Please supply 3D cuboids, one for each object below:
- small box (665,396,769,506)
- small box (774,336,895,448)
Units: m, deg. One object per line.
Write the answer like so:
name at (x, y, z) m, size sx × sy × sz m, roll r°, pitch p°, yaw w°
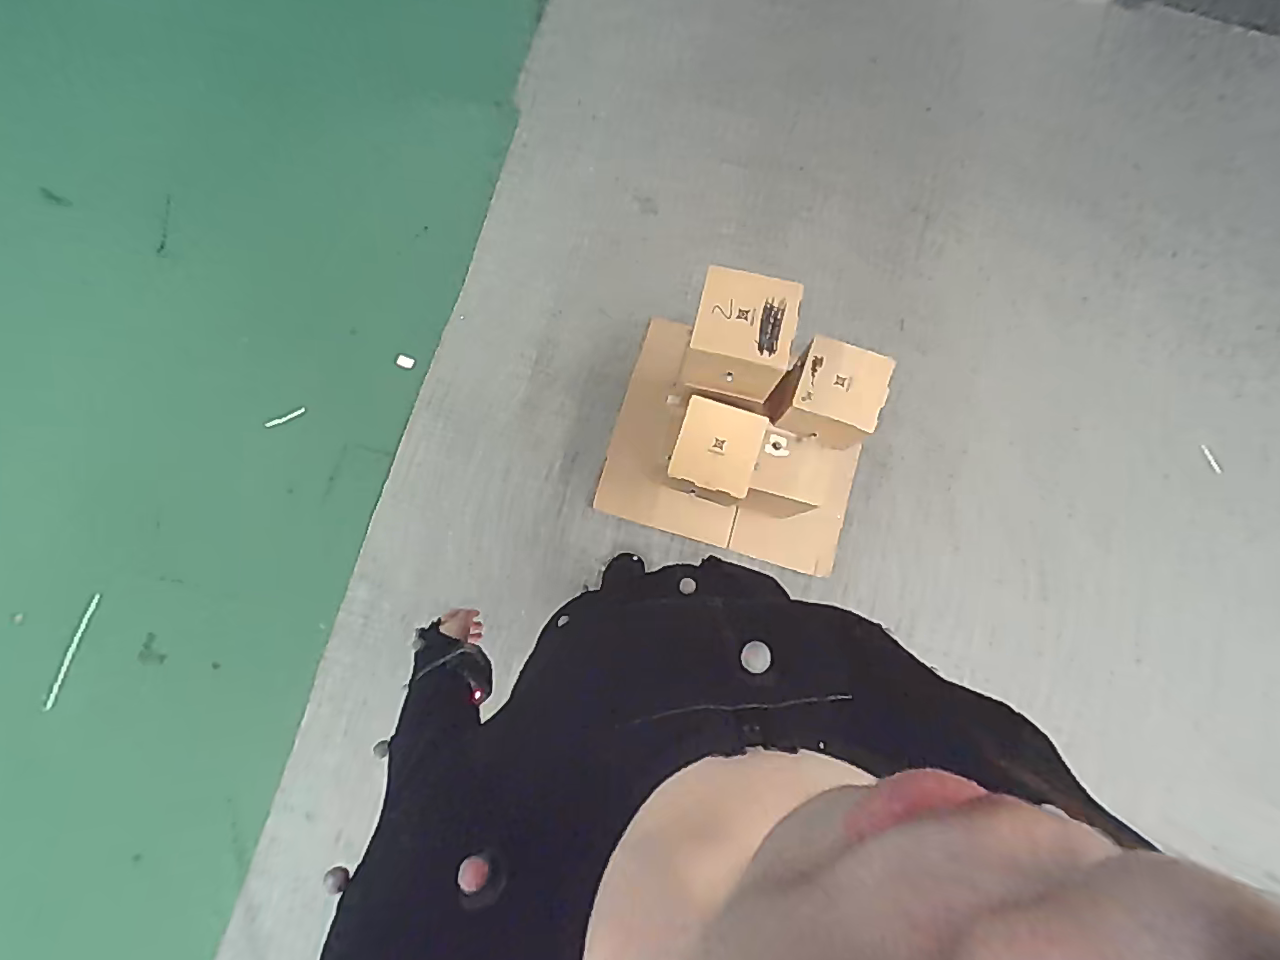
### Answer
small box at (0.155, -0.055, 1.150) m, size 0.168 × 0.176 × 0.179 m, roll 18°, pitch 83°, yaw 1°
small box at (0.413, -0.180, 1.173) m, size 0.179 × 0.176 × 0.168 m, roll 20°, pitch 81°, yaw 5°
